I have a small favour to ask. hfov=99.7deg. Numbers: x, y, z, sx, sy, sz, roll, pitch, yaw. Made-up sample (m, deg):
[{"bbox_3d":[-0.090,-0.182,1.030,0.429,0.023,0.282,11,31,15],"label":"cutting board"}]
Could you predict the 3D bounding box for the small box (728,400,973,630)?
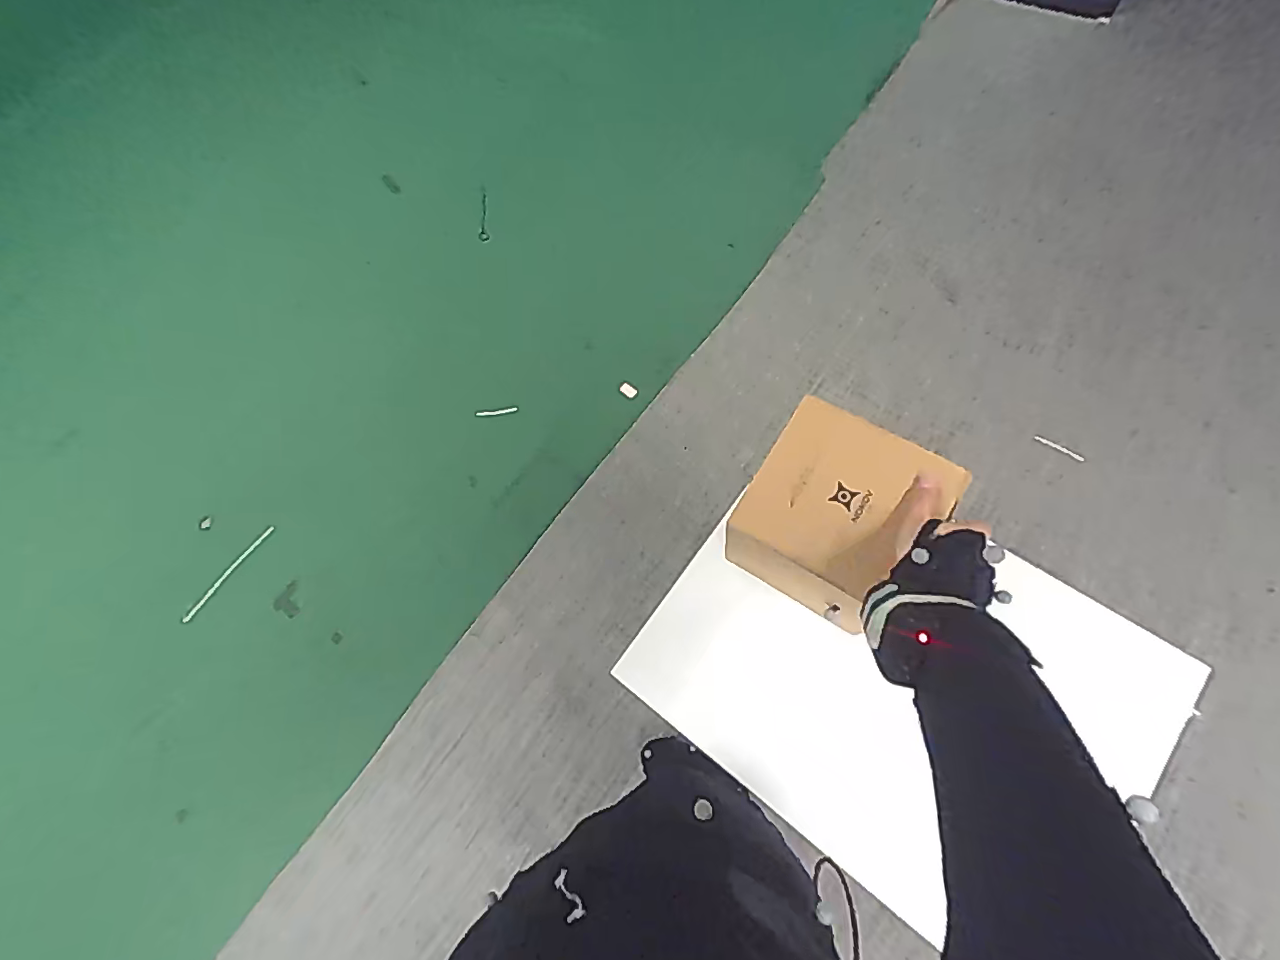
[{"bbox_3d":[0.211,0.048,0.590,0.179,0.176,0.168,30,76,18],"label":"small box"}]
